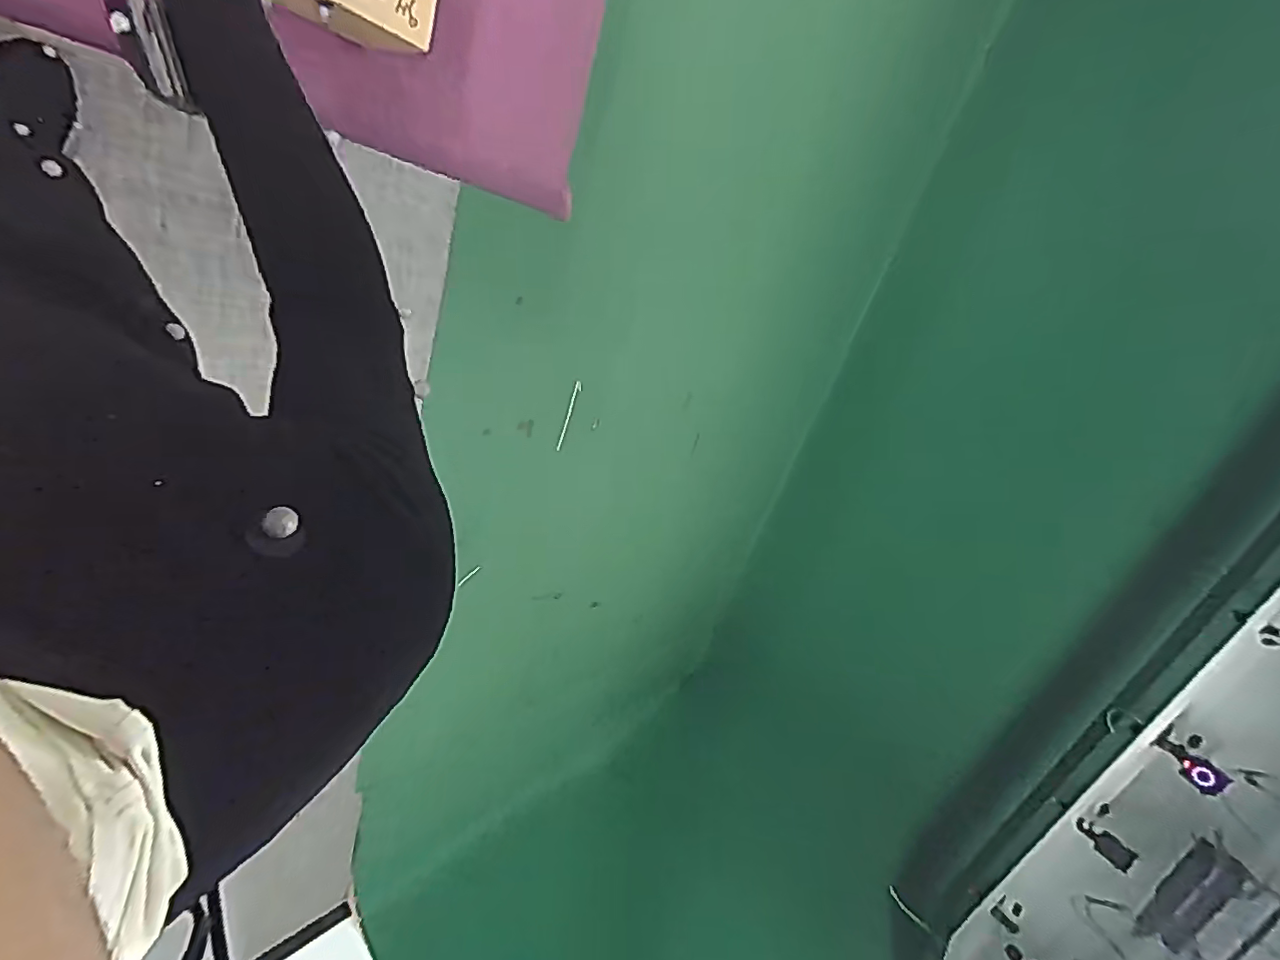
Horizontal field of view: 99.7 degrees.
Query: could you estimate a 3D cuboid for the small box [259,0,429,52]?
[{"bbox_3d":[-0.324,-0.577,0.550,0.168,0.176,0.179,-6,122,-48],"label":"small box"}]
